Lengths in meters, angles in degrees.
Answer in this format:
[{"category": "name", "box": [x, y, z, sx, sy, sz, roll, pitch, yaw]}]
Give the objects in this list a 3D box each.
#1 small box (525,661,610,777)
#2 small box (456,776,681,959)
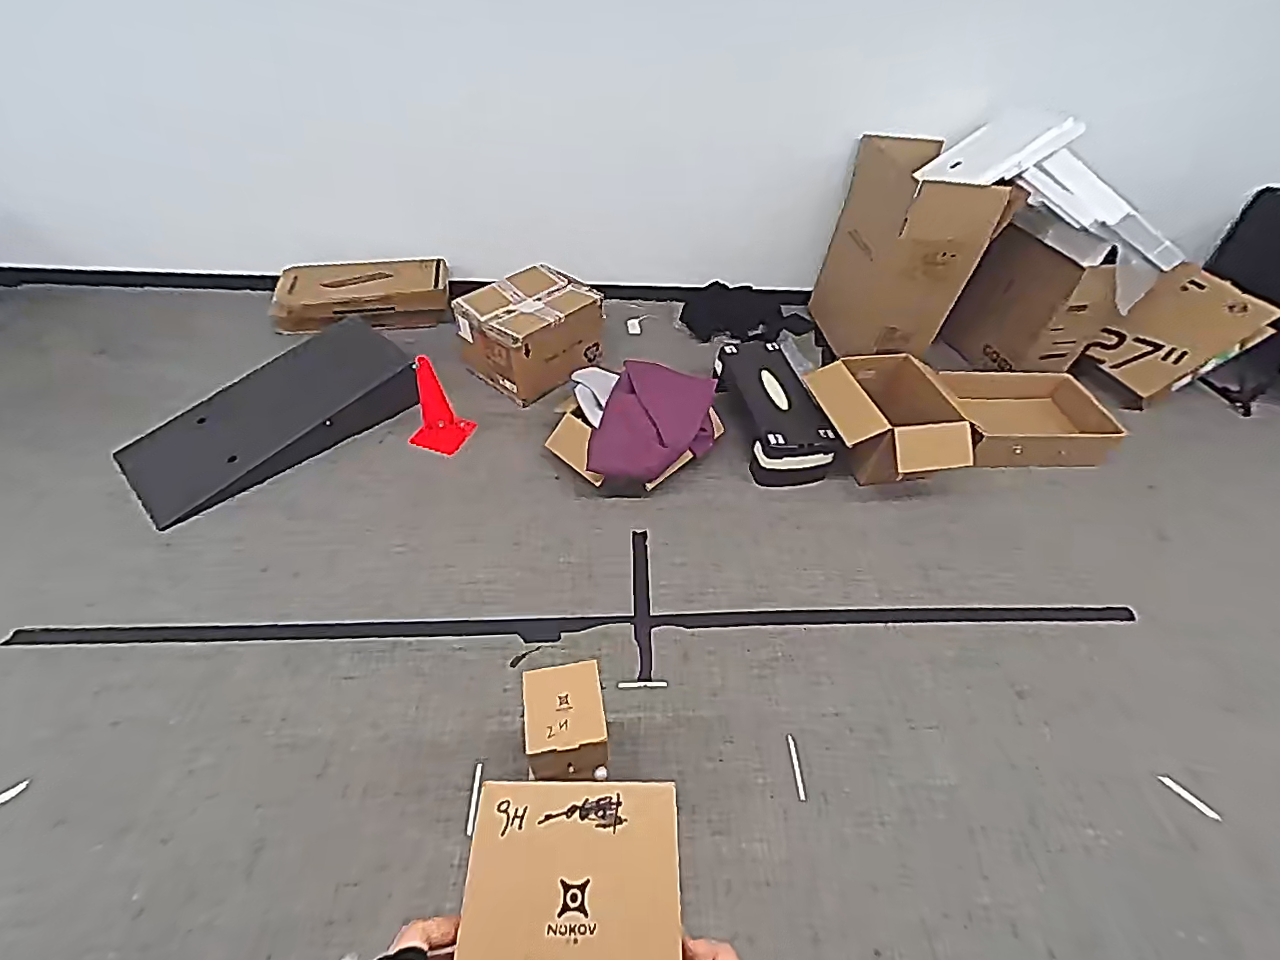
[{"category": "small box", "box": [-0.160, 0.528, 1.190, 0.168, 0.176, 0.179, -7, 48, -8]}, {"category": "small box", "box": [-0.052, 0.368, 0.470, 0.168, 0.176, 0.179, 1, 53, -2]}]
